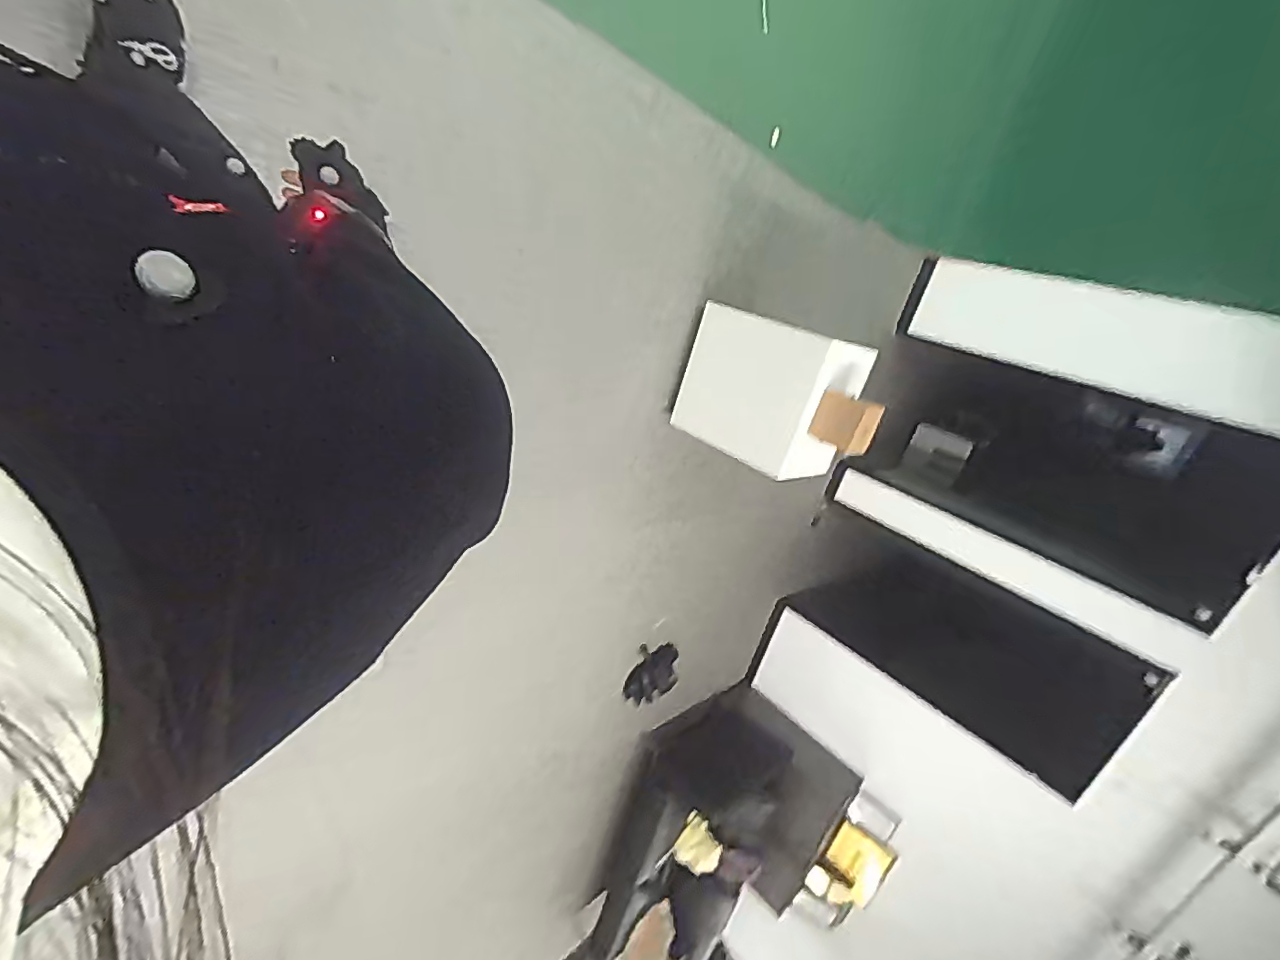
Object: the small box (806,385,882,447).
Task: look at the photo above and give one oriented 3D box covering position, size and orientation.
[{"bbox_3d":[0.720,-0.228,1.920,0.168,0.176,0.179,-4,119,-46],"label":"small box"}]
